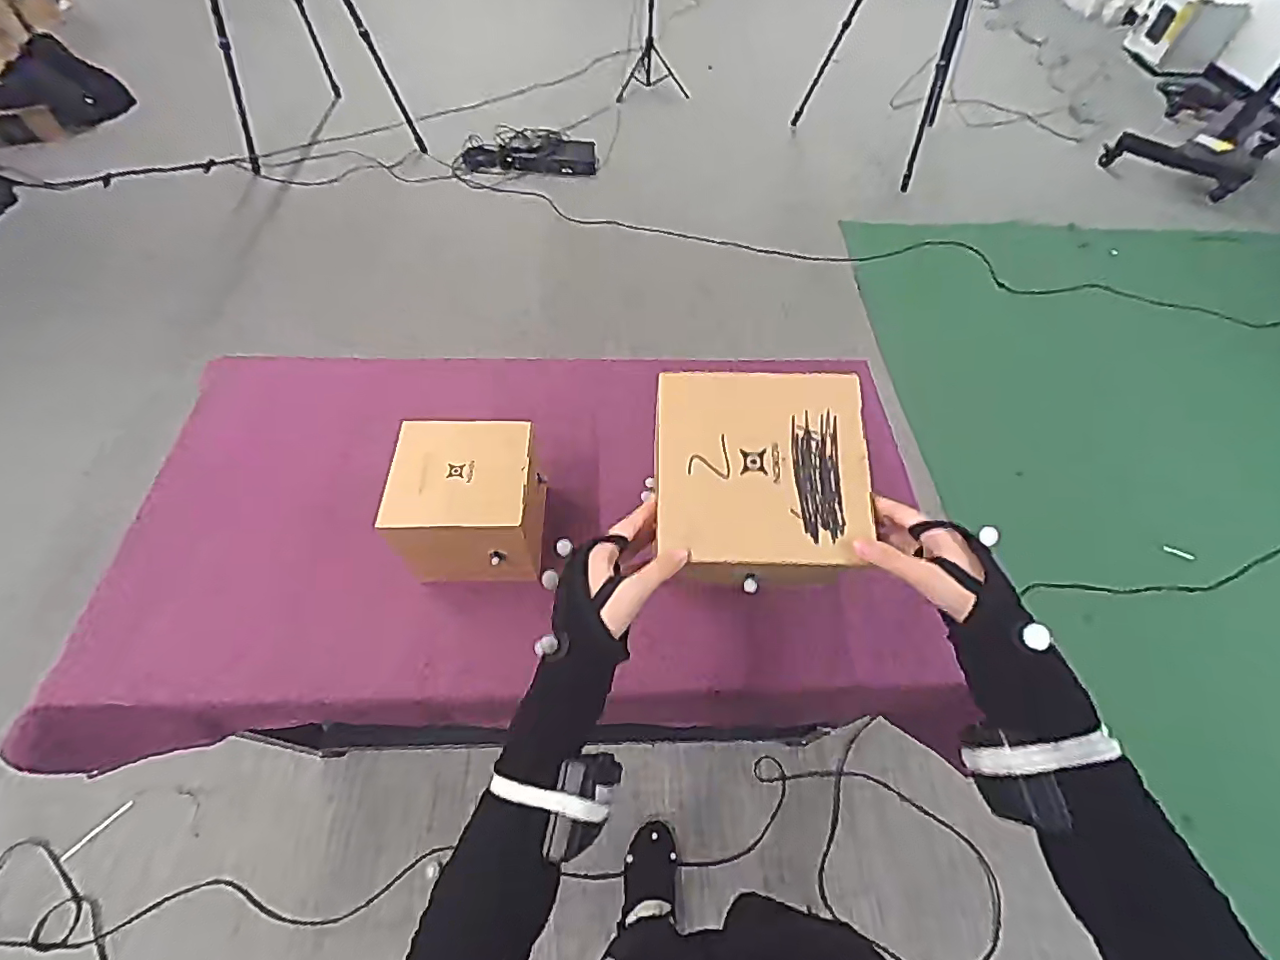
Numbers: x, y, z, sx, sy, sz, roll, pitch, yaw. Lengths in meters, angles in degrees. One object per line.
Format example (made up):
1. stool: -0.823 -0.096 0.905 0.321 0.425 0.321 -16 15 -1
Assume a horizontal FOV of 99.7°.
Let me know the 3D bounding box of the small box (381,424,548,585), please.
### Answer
1. small box: -0.227 0.038 0.758 0.179 0.176 0.168 0 55 -2

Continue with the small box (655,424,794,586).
1. small box: 0.108 0.041 0.769 0.168 0.176 0.179 1 55 -1
